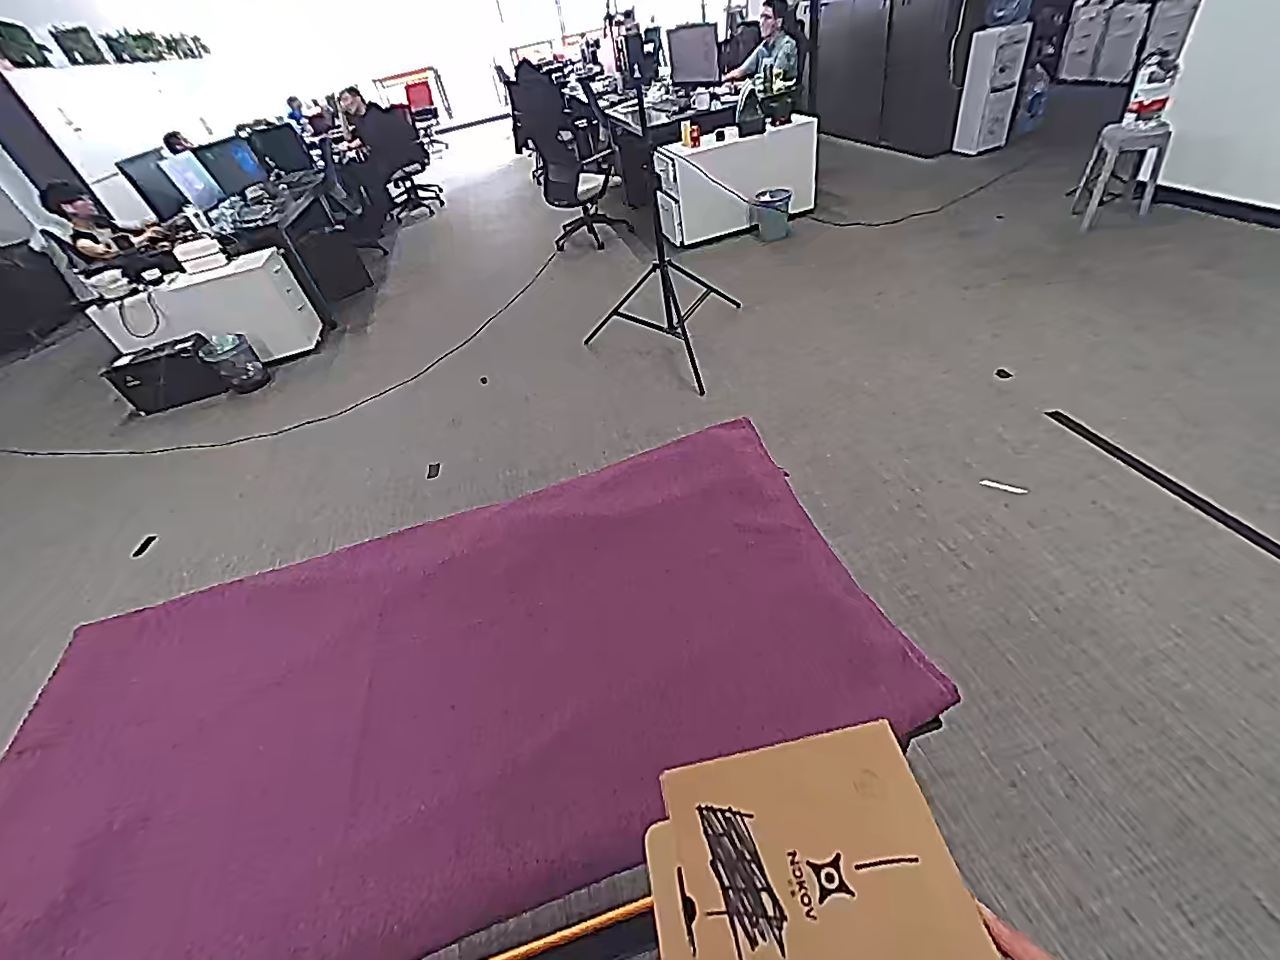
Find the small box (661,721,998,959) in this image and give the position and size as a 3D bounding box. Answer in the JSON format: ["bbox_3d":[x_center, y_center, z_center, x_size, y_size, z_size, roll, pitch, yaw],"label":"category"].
[{"bbox_3d":[0.125,0.310,0.406,0.179,0.176,0.168,-13,46,0],"label":"small box"}]
